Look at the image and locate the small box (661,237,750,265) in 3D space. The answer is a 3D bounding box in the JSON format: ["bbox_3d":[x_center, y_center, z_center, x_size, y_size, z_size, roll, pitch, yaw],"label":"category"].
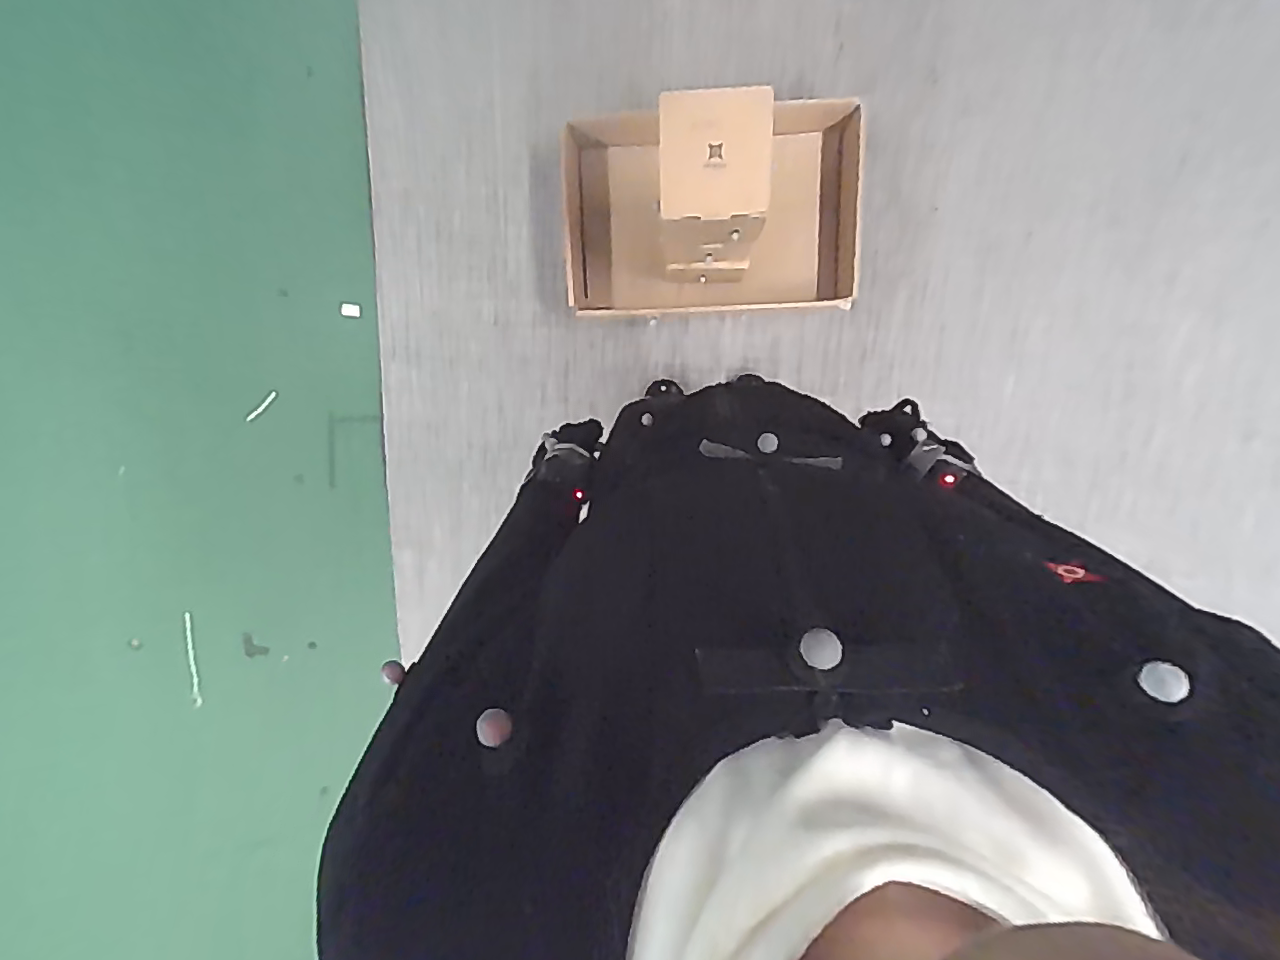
[{"bbox_3d":[0.126,-0.526,1.057,0.168,0.176,0.179,-2,100,6],"label":"small box"}]

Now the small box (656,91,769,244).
[{"bbox_3d":[0.111,-0.491,0.879,0.168,0.176,0.179,0,99,4],"label":"small box"}]

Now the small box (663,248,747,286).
[{"bbox_3d":[0.146,-0.539,1.216,0.179,0.176,0.168,3,100,5],"label":"small box"}]
